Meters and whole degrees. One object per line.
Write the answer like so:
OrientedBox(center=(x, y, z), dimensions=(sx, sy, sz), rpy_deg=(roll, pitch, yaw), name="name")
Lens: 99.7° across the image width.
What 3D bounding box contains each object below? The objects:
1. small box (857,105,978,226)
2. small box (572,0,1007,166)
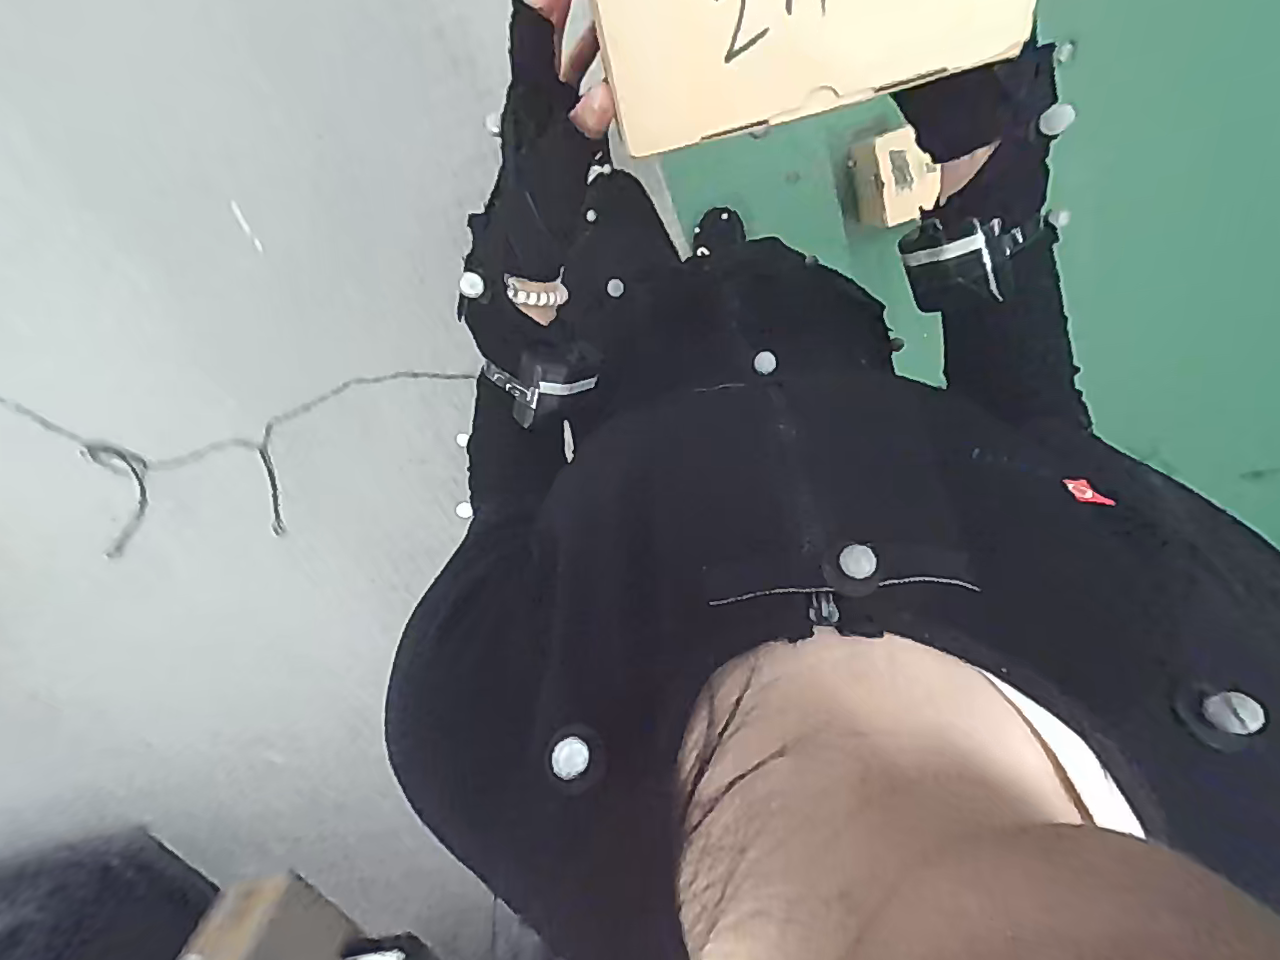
OrientedBox(center=(0.567, -0.644, 1.127), dimensions=(0.179, 0.176, 0.168), rpy_deg=(-17, 115, 11), name="small box")
OrientedBox(center=(0.043, -0.267, 0.245), dimensions=(0.168, 0.176, 0.179), rpy_deg=(-13, 126, 6), name="small box")
